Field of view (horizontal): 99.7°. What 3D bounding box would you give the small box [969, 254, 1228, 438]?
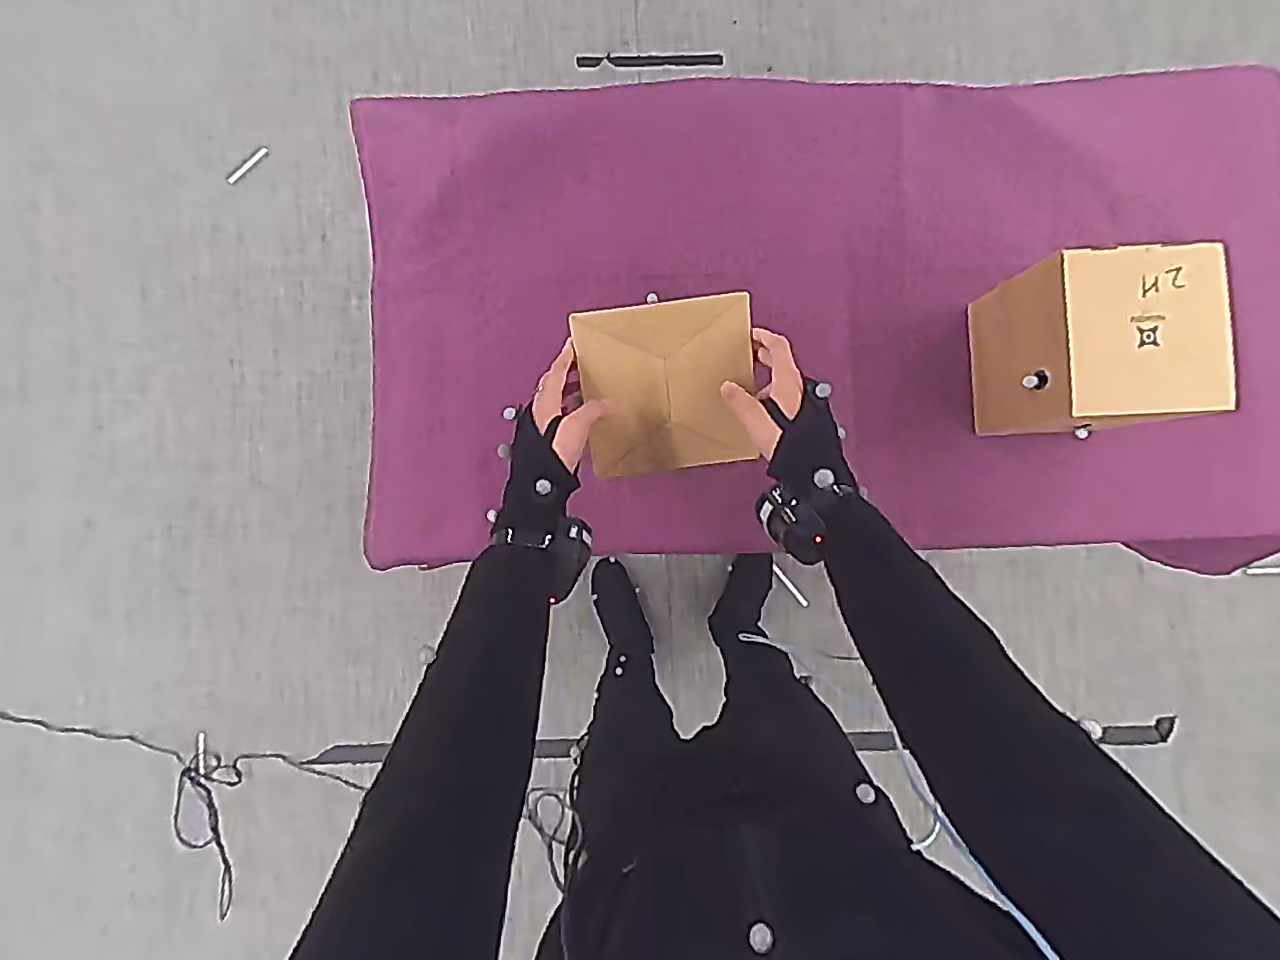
[{"bbox_3d":[0.517,-0.142,0.635,0.168,0.176,0.179,-2,88,1],"label":"small box"}]
